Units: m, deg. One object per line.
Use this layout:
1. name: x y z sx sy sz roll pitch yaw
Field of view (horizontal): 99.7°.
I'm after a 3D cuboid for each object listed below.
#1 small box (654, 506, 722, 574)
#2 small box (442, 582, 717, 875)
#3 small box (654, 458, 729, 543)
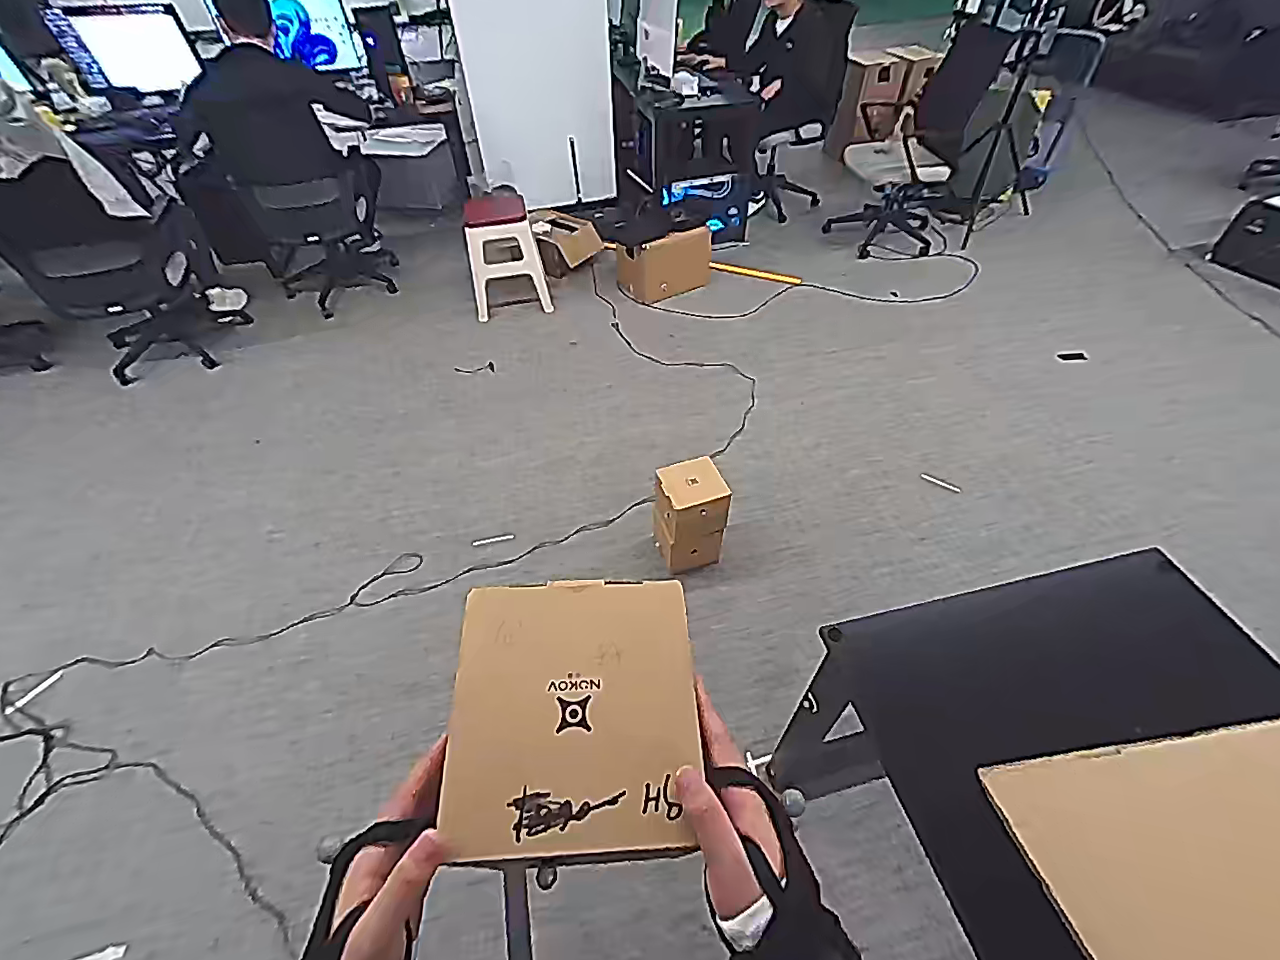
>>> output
1. small box: 0.149 0.178 1.742 0.179 0.176 0.168 -15 49 -10
2. small box: -0.042 0.200 0.432 0.168 0.176 0.179 -2 53 -3
3. small box: 0.150 0.066 1.624 0.179 0.176 0.168 -16 50 -14
